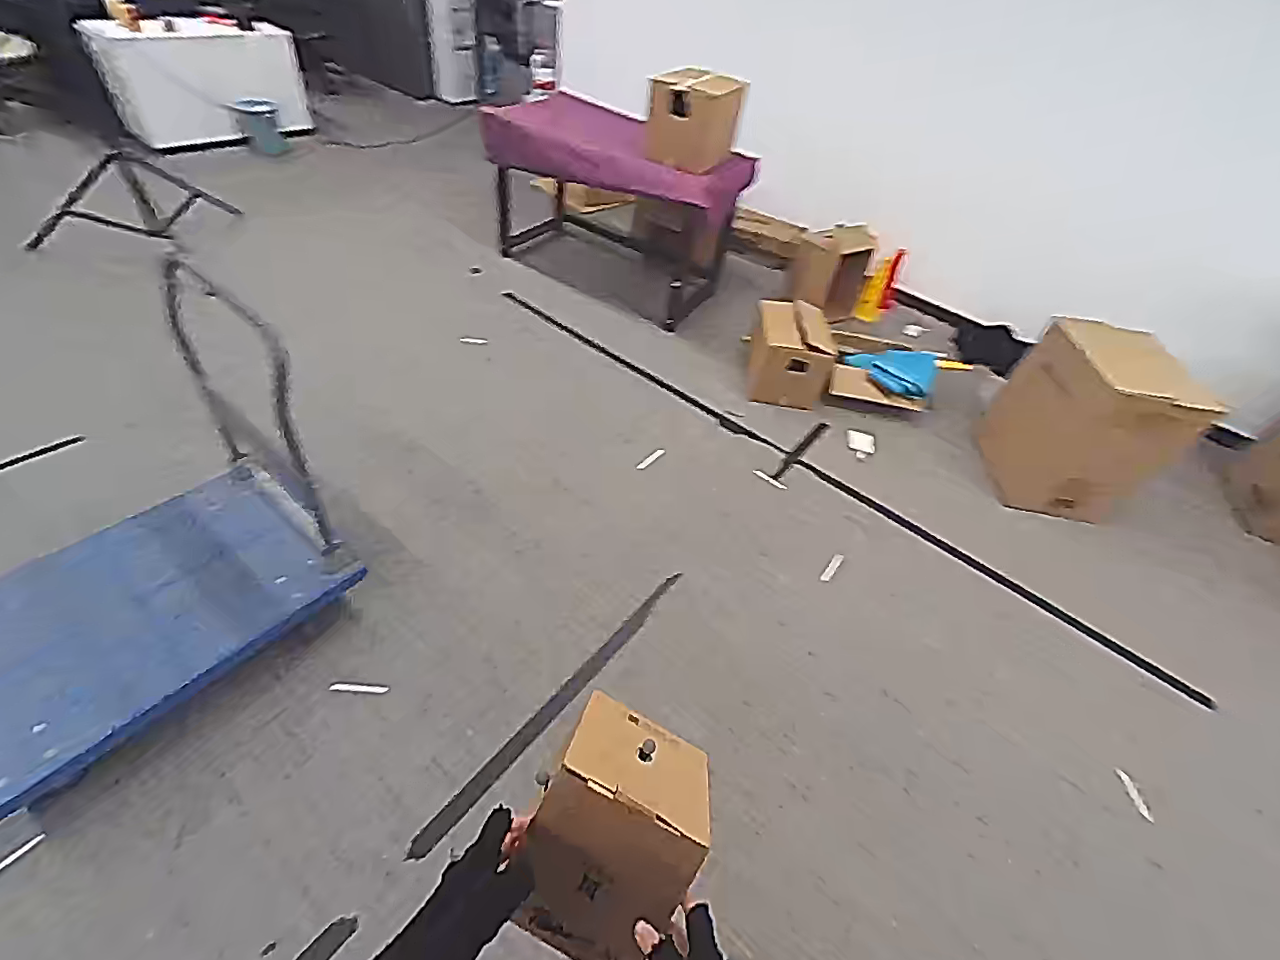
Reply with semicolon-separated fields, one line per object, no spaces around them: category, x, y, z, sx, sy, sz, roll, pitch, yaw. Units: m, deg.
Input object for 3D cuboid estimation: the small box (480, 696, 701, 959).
small box;-0.046;0.381;0.611;0.168;0.179;0.176;28;4;3
